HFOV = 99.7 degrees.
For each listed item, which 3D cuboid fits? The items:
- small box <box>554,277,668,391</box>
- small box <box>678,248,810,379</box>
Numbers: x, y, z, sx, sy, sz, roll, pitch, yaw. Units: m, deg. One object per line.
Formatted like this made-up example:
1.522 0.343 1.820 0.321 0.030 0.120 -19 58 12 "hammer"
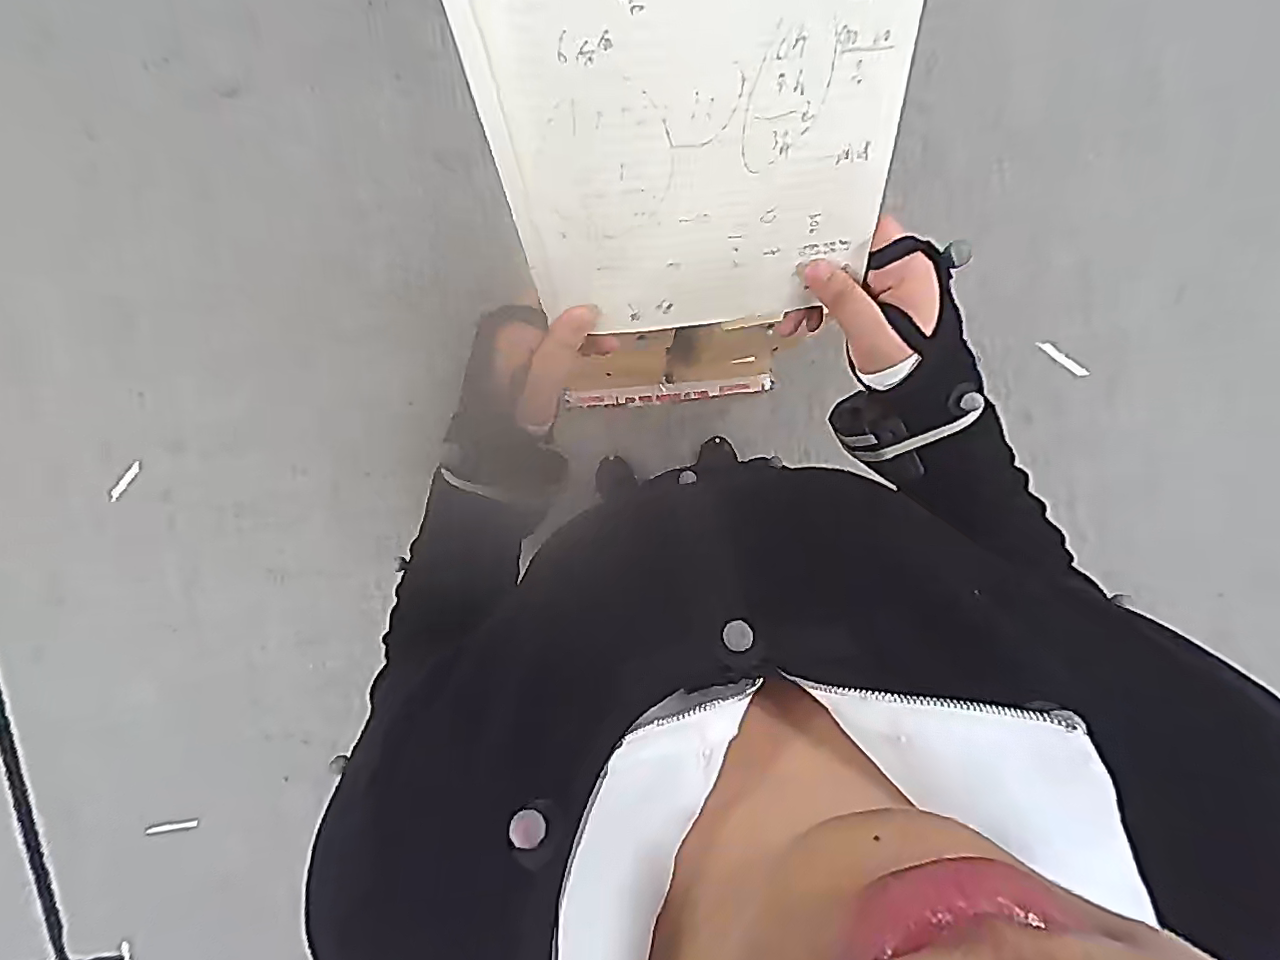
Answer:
-0.044 -0.243 0.934 0.179 0.176 0.168 -2 95 3 "small box"
0.170 -0.276 0.930 0.179 0.176 0.168 -11 94 0 "small box"
